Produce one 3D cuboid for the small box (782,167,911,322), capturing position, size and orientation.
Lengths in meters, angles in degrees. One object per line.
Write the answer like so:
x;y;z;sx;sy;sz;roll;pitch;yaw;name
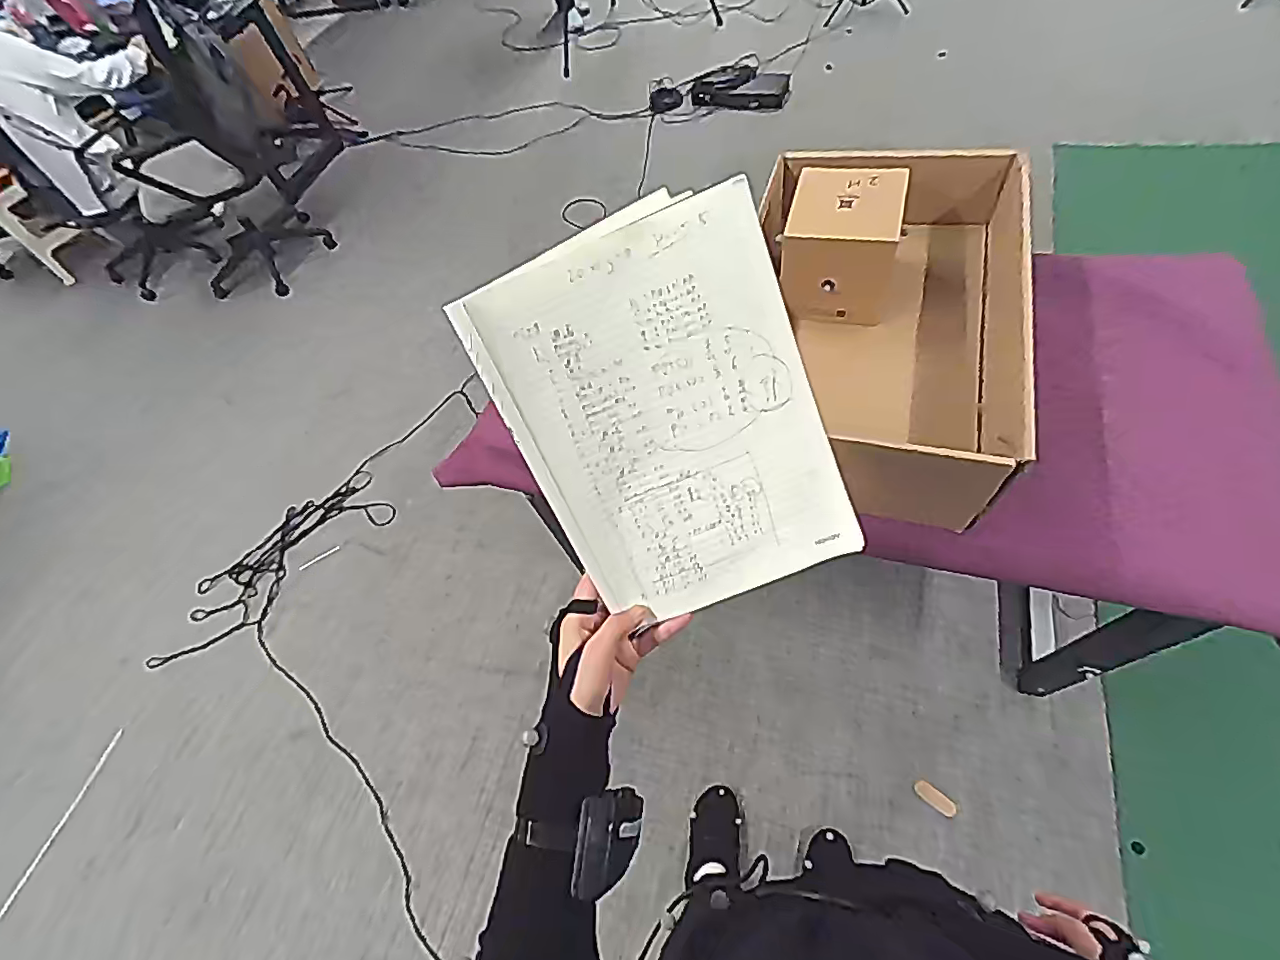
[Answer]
0.335;-0.387;0.898;0.168;0.176;0.179;12;64;18;small box
